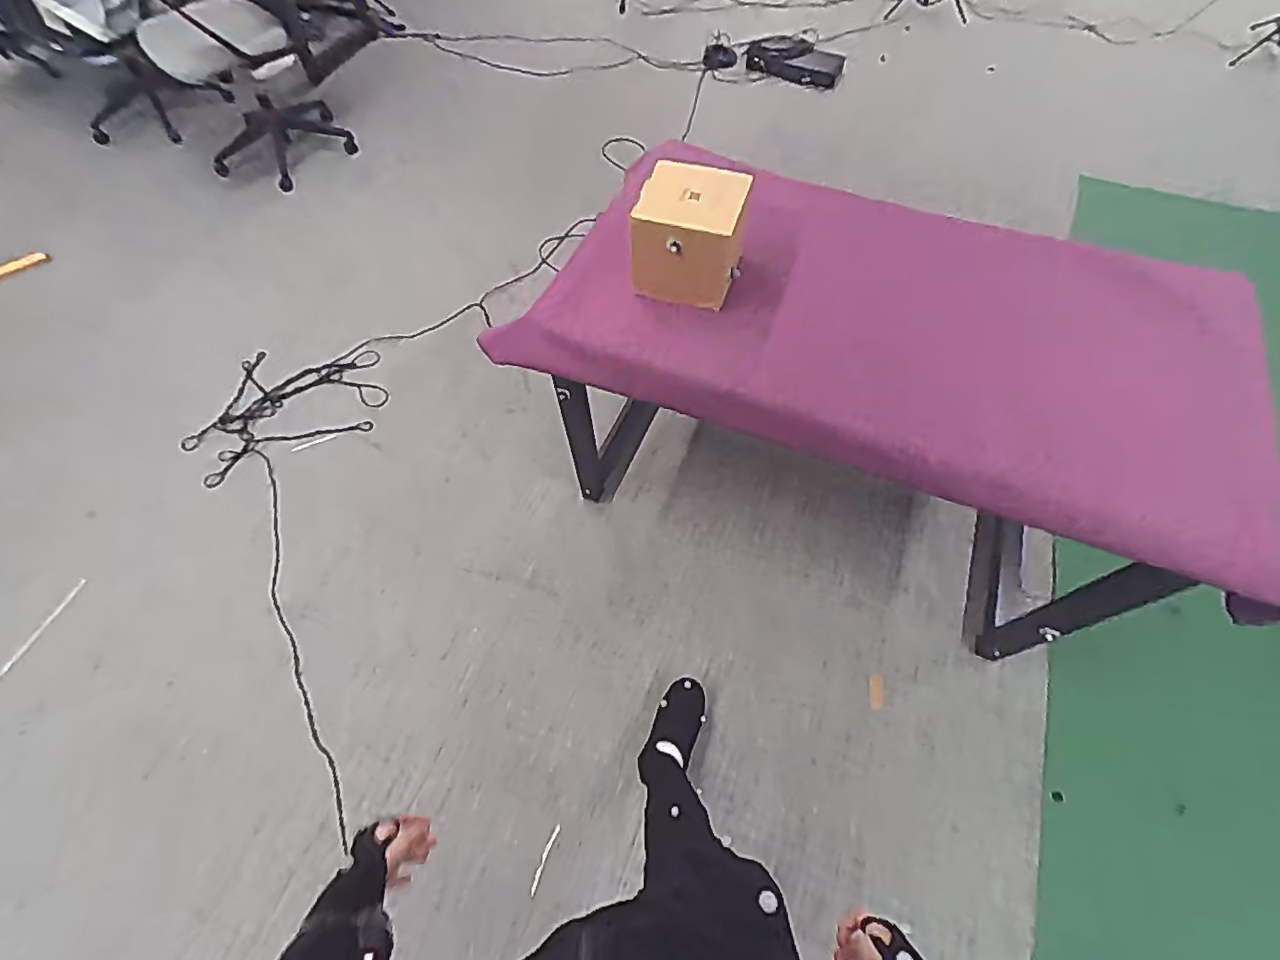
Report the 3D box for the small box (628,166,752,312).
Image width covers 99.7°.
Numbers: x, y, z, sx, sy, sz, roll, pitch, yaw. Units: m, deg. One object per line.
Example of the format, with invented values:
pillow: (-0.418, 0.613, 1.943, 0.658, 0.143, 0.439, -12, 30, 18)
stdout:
small box: (0.088, -0.431, 0.980, 0.179, 0.176, 0.168, 16, 63, 10)
